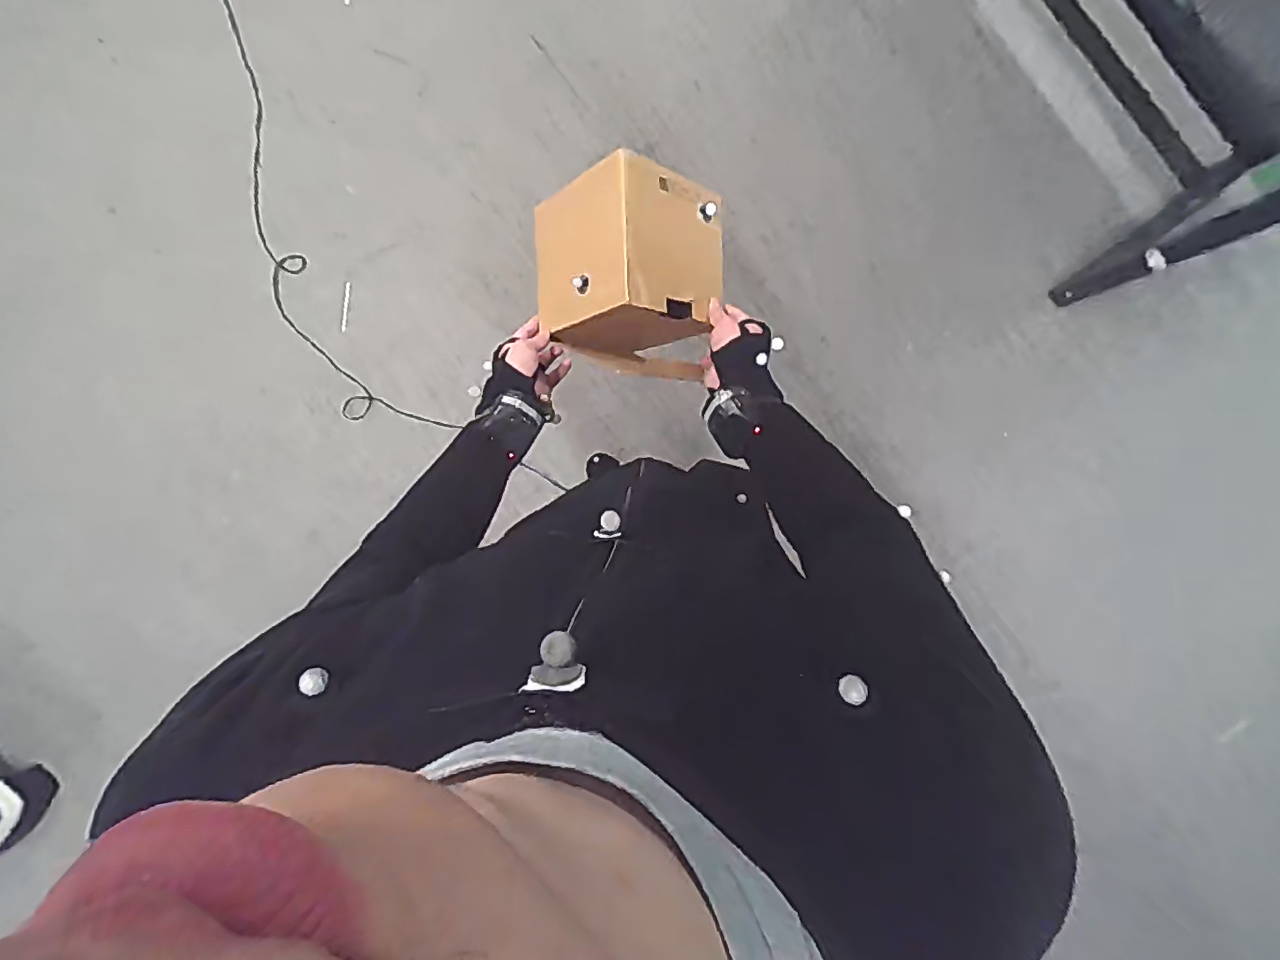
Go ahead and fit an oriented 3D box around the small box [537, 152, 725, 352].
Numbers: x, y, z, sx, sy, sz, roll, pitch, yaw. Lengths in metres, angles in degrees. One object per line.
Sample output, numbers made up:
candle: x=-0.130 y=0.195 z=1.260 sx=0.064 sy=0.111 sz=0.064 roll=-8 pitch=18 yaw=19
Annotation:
small box: x=-0.016 y=-0.263 z=0.663 sx=0.168 sy=0.179 sz=0.176 roll=-3 pitch=92 yaw=-43
